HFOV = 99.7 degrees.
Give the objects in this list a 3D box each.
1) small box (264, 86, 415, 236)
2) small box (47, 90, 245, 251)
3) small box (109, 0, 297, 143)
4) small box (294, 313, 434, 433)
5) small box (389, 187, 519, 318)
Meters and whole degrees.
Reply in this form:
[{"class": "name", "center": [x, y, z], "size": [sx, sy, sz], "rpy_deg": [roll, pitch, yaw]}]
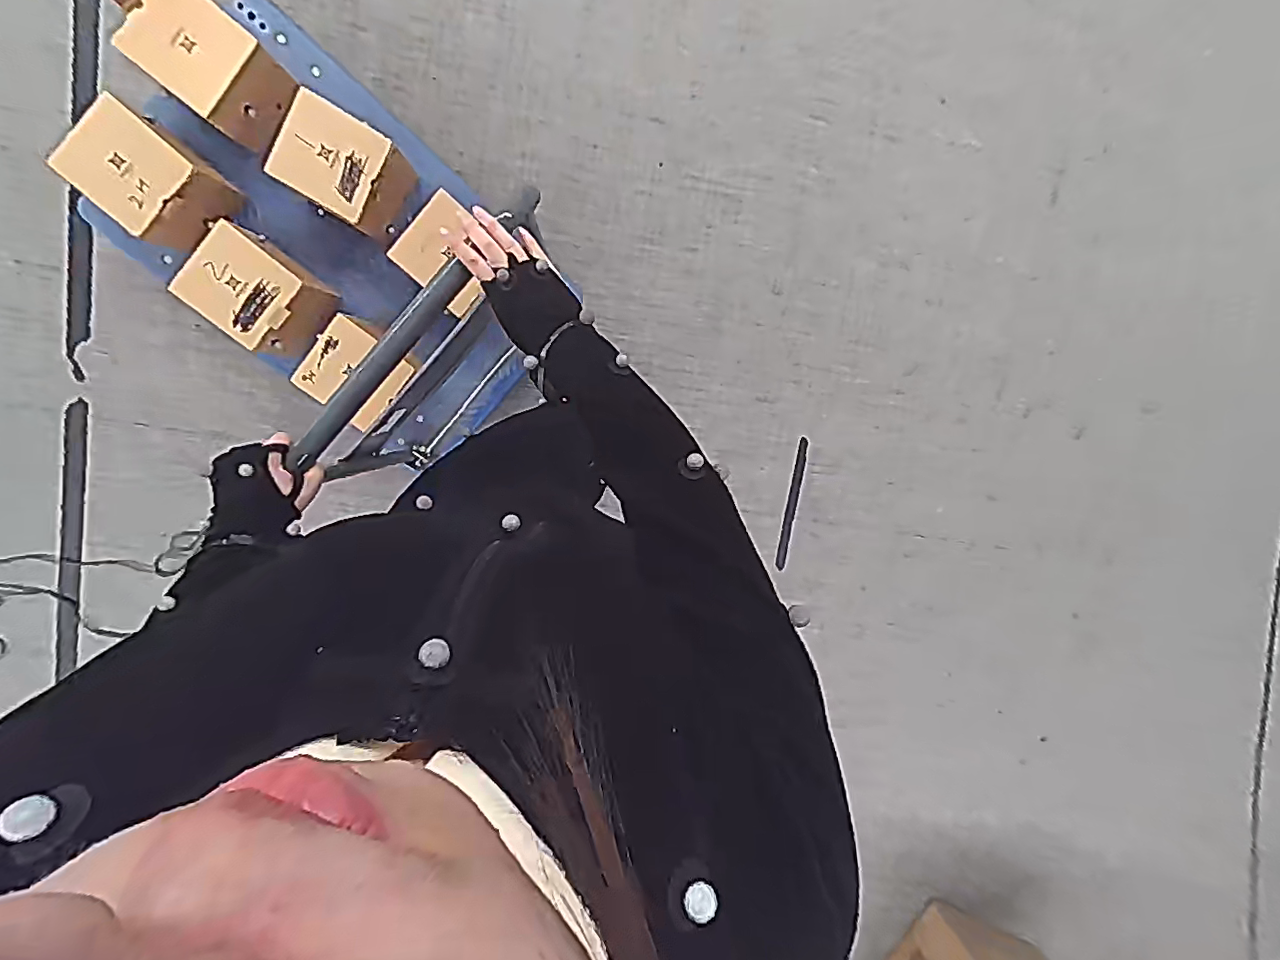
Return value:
[{"class": "small box", "center": [-0.568, -0.601, 1.051], "size": [0.179, 0.176, 0.168], "rpy_deg": [28, 96, -11]}, {"class": "small box", "center": [-0.906, -0.561, 1.013], "size": [0.179, 0.176, 0.168], "rpy_deg": [42, 94, -14]}, {"class": "small box", "center": [-0.782, -0.760, 0.993], "size": [0.179, 0.176, 0.168], "rpy_deg": [37, 95, -13]}, {"class": "small box", "center": [-0.558, -0.222, 1.124], "size": [0.179, 0.176, 0.168], "rpy_deg": [37, 93, -13]}, {"class": "small box", "center": [-0.367, -0.450, 1.107], "size": [0.179, 0.176, 0.168], "rpy_deg": [41, 93, -12]}]
